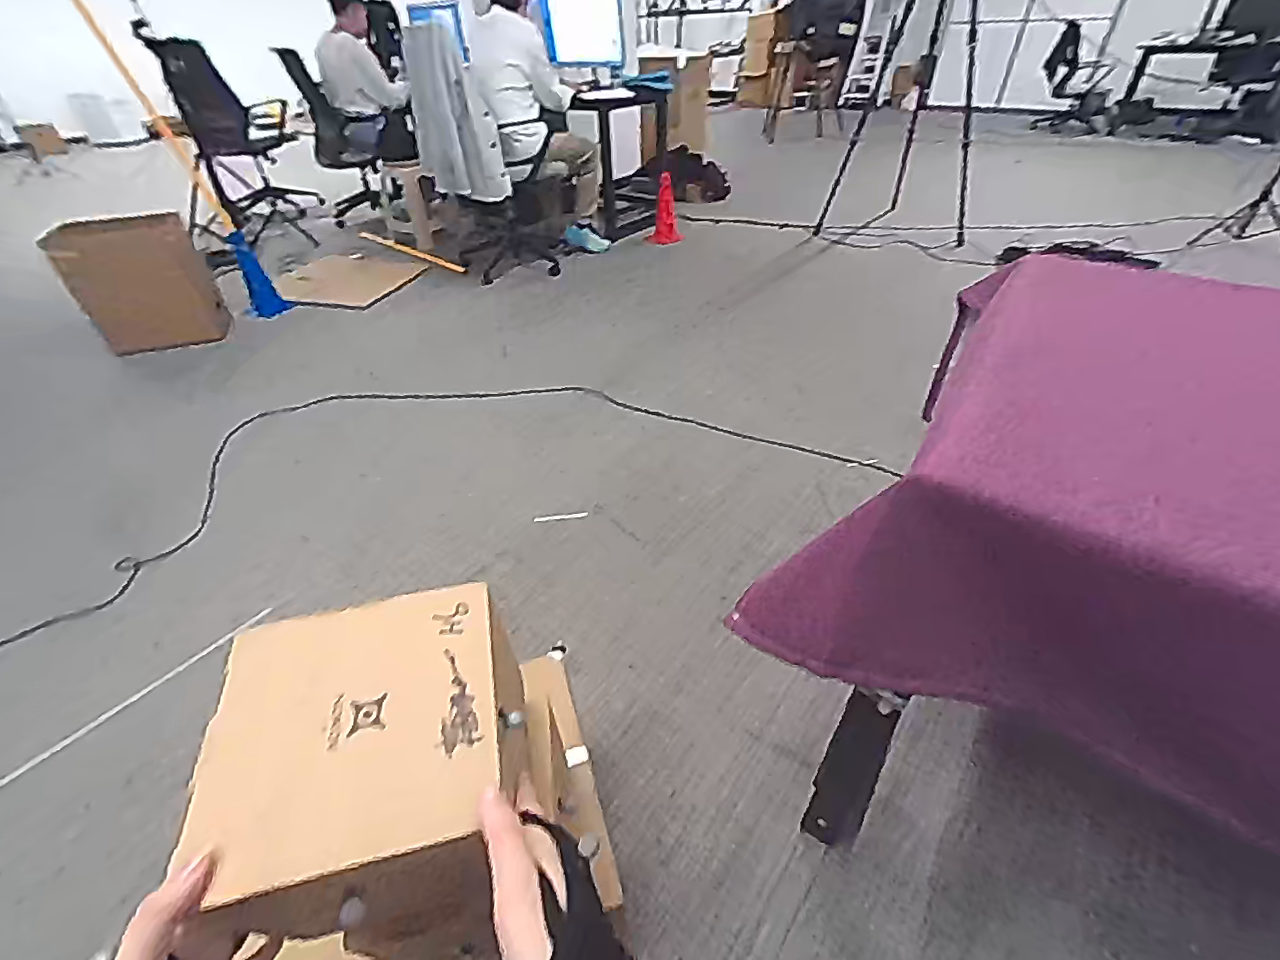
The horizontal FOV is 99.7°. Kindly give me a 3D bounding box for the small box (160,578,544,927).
[{"bbox_3d":[-0.178,0.201,0.398,0.179,0.176,0.168,-11,49,-9],"label":"small box"}]
